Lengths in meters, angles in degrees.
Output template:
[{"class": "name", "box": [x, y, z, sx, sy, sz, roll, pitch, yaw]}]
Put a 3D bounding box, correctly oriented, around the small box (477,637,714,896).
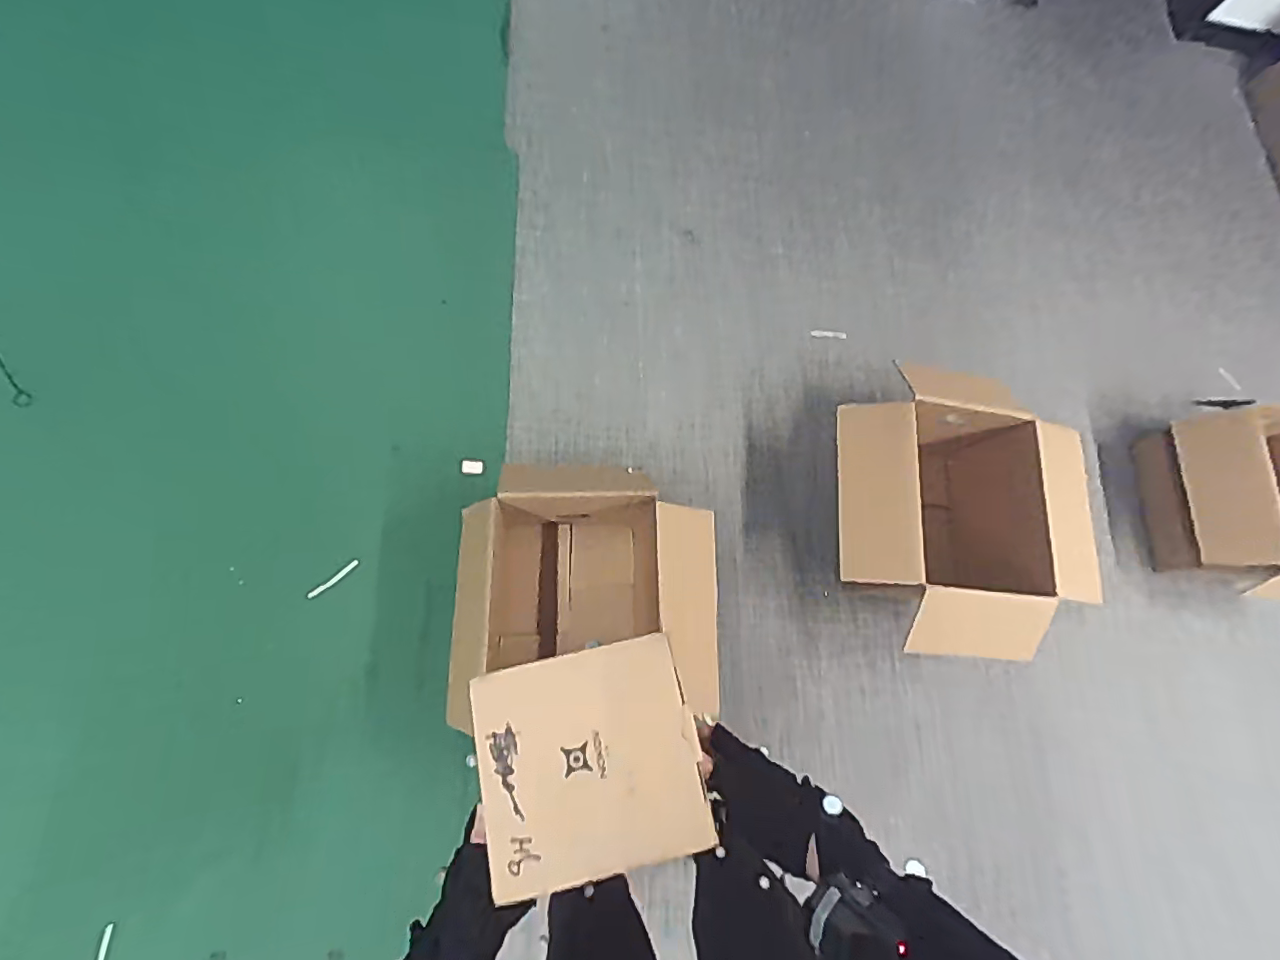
[{"class": "small box", "box": [-0.044, 0.255, 0.519, 0.179, 0.176, 0.168, -11, 69, -6]}]
